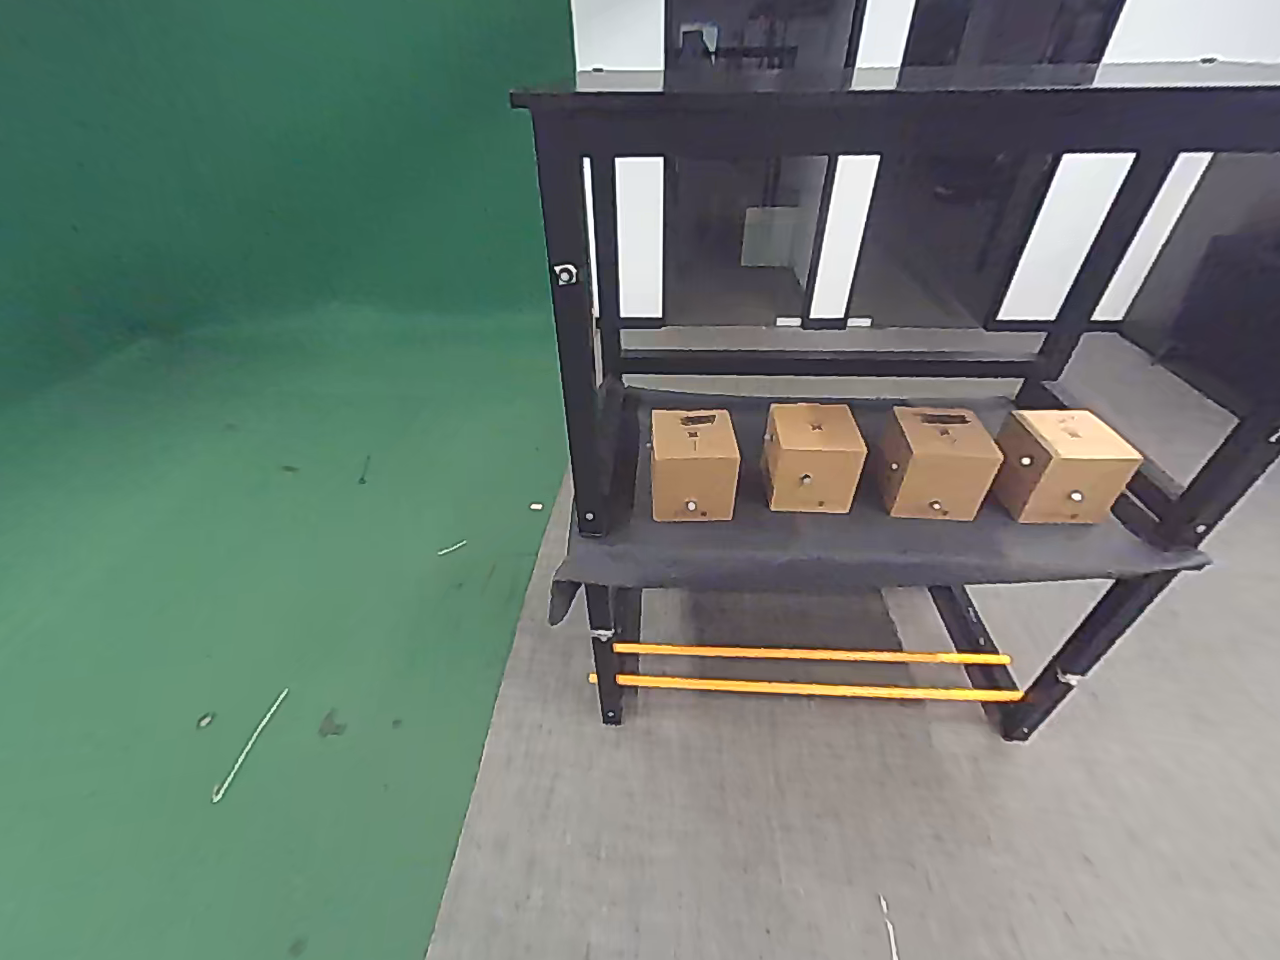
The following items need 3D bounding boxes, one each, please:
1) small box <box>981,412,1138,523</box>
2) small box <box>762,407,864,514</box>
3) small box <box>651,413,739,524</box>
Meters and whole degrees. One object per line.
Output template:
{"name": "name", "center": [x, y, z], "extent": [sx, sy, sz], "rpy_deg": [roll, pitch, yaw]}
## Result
{"name": "small box", "center": [0.852, -0.026, 1.122], "extent": [0.168, 0.176, 0.179], "rpy_deg": [1, 37, 2]}
{"name": "small box", "center": [0.361, -0.042, 1.163], "extent": [0.168, 0.176, 0.179], "rpy_deg": [2, 38, 3]}
{"name": "small box", "center": [0.108, -0.025, 1.146], "extent": [0.168, 0.176, 0.179], "rpy_deg": [-1, 39, 0]}
